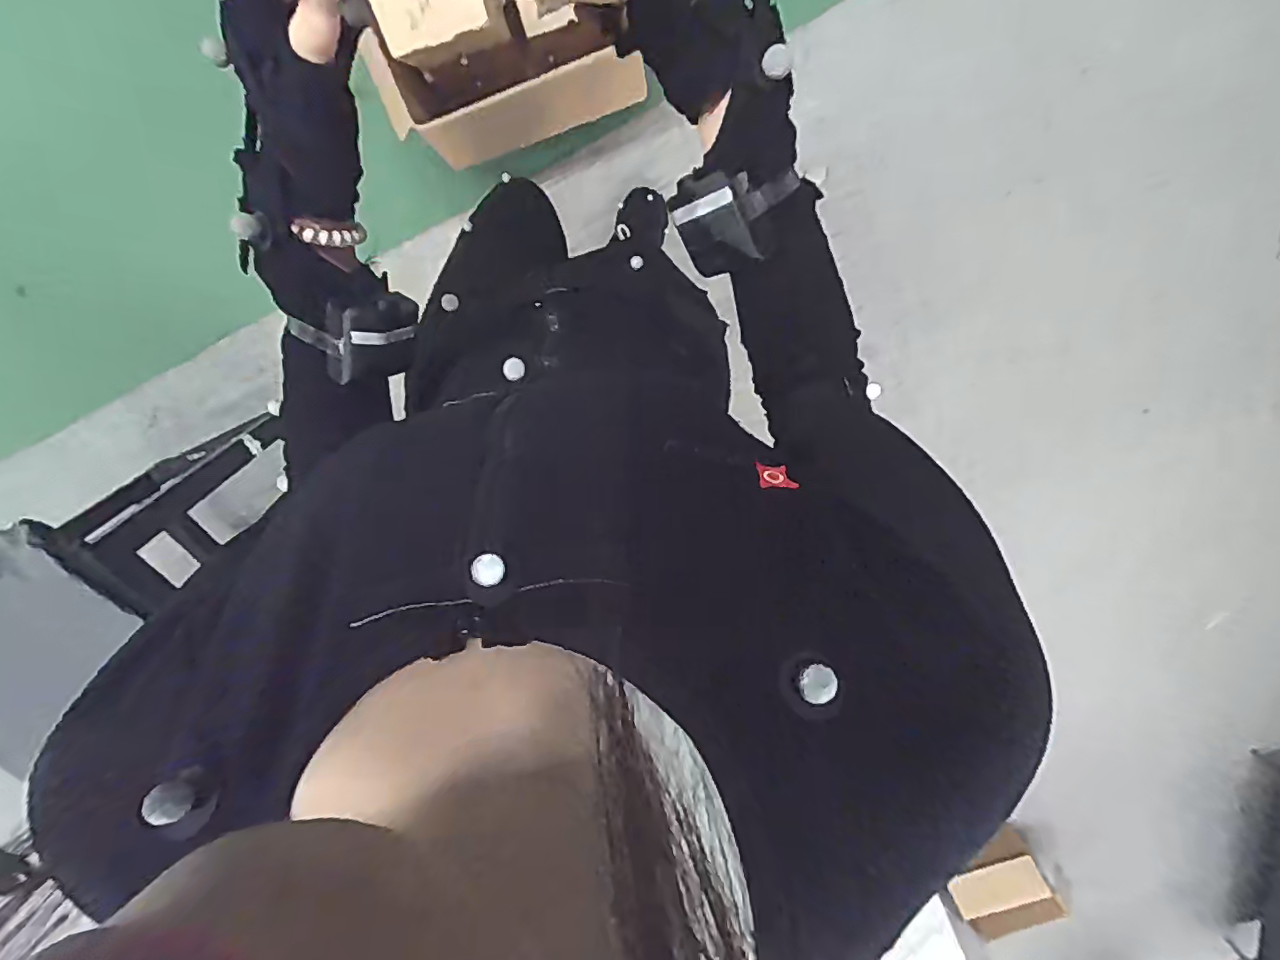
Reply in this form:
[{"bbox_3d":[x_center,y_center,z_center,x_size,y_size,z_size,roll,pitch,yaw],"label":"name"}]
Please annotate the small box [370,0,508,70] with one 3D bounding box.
[{"bbox_3d":[-0.325,-0.782,0.847,0.168,0.176,0.179,-13,120,8],"label":"small box"}]
